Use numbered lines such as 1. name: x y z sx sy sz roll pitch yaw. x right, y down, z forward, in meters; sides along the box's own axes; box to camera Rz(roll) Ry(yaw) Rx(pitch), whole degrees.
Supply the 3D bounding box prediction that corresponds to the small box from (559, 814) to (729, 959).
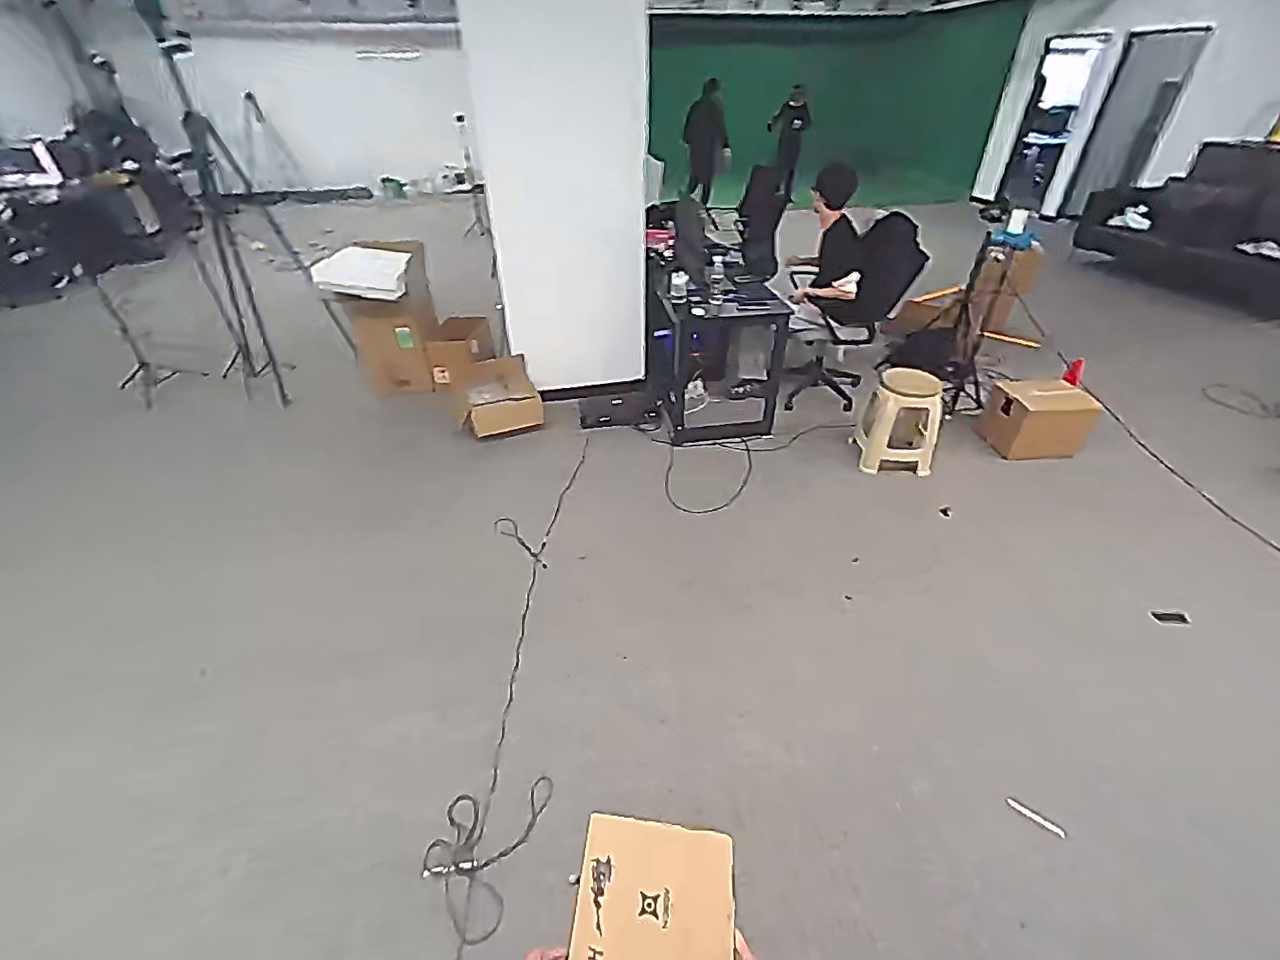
1. small box: 0.000 0.534 0.648 0.179 0.176 0.168 10 39 0
